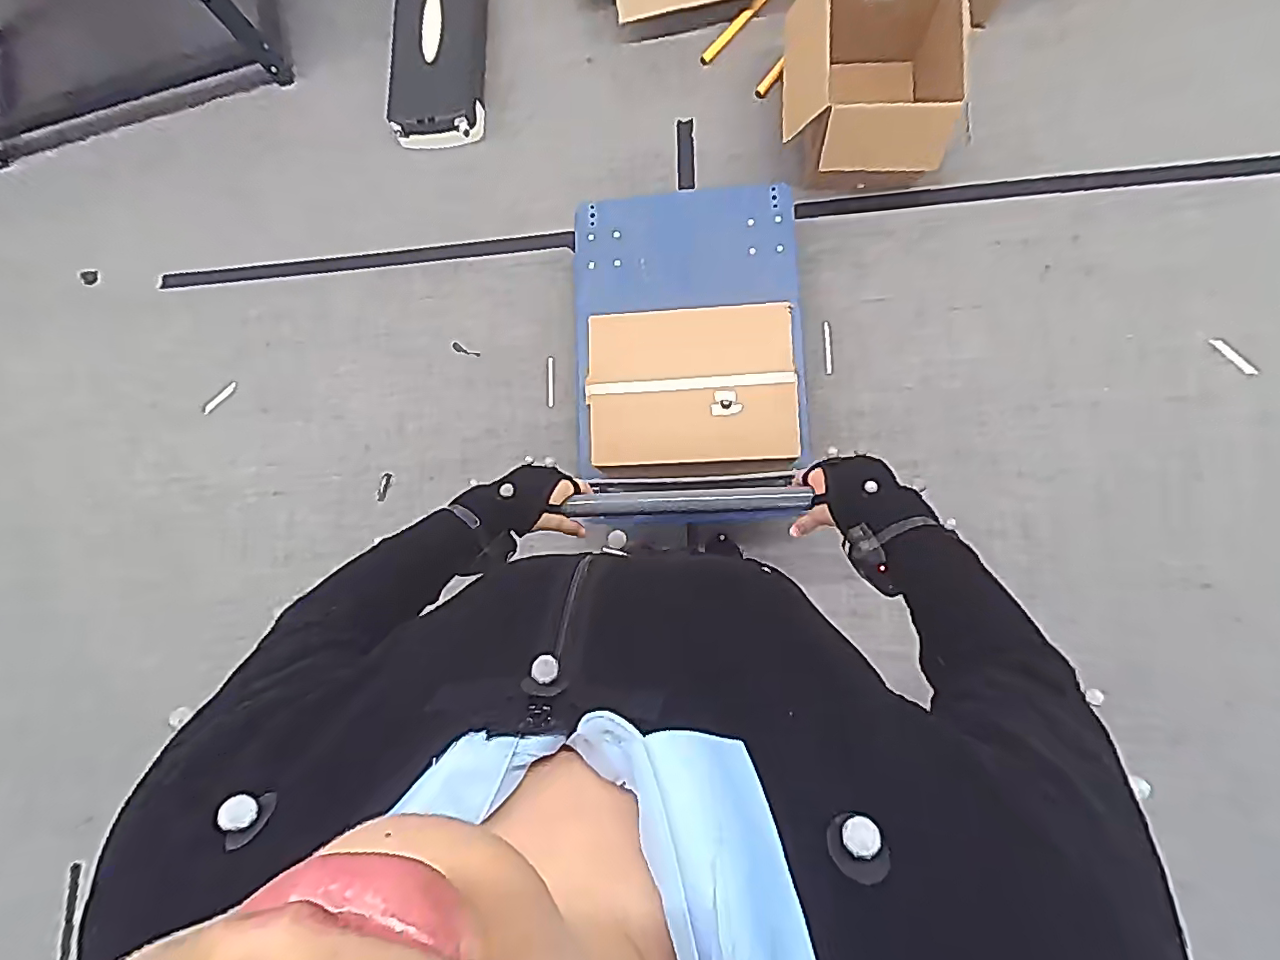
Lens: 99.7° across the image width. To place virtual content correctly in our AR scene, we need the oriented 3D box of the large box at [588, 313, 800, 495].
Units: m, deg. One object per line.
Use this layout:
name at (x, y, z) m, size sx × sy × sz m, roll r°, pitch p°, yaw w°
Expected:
large box at (0.110, -0.144, 1.197) m, size 0.408 × 0.320 × 0.320 m, roll -2°, pitch 83°, yaw 5°
